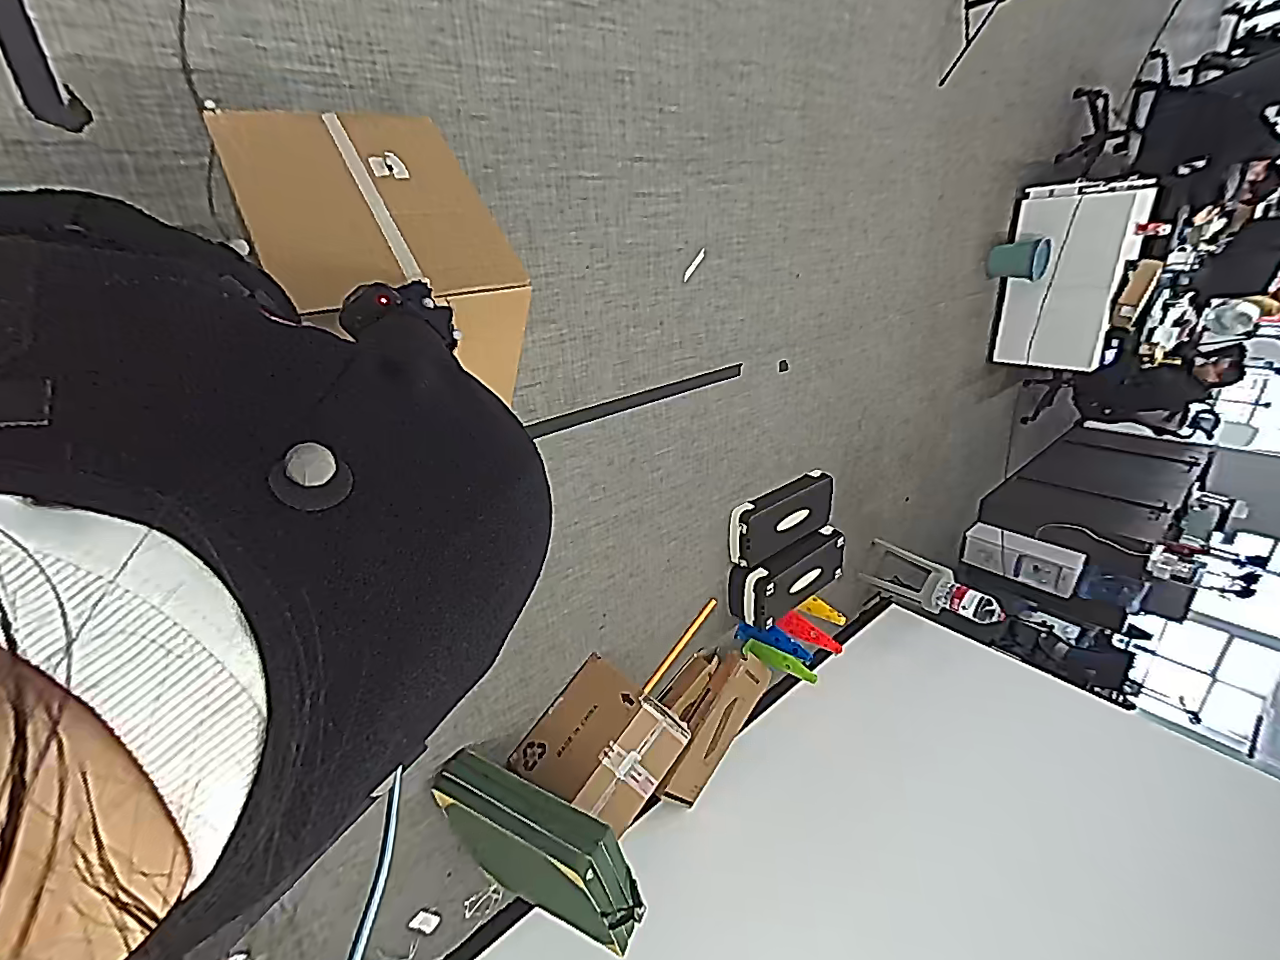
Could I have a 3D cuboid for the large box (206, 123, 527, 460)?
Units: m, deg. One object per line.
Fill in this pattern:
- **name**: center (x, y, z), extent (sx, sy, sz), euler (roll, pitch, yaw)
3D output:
- **large box**: center (-0.429, -0.307, 0.888), extent (0.320, 0.408, 0.320), euler (-21, 157, -32)
